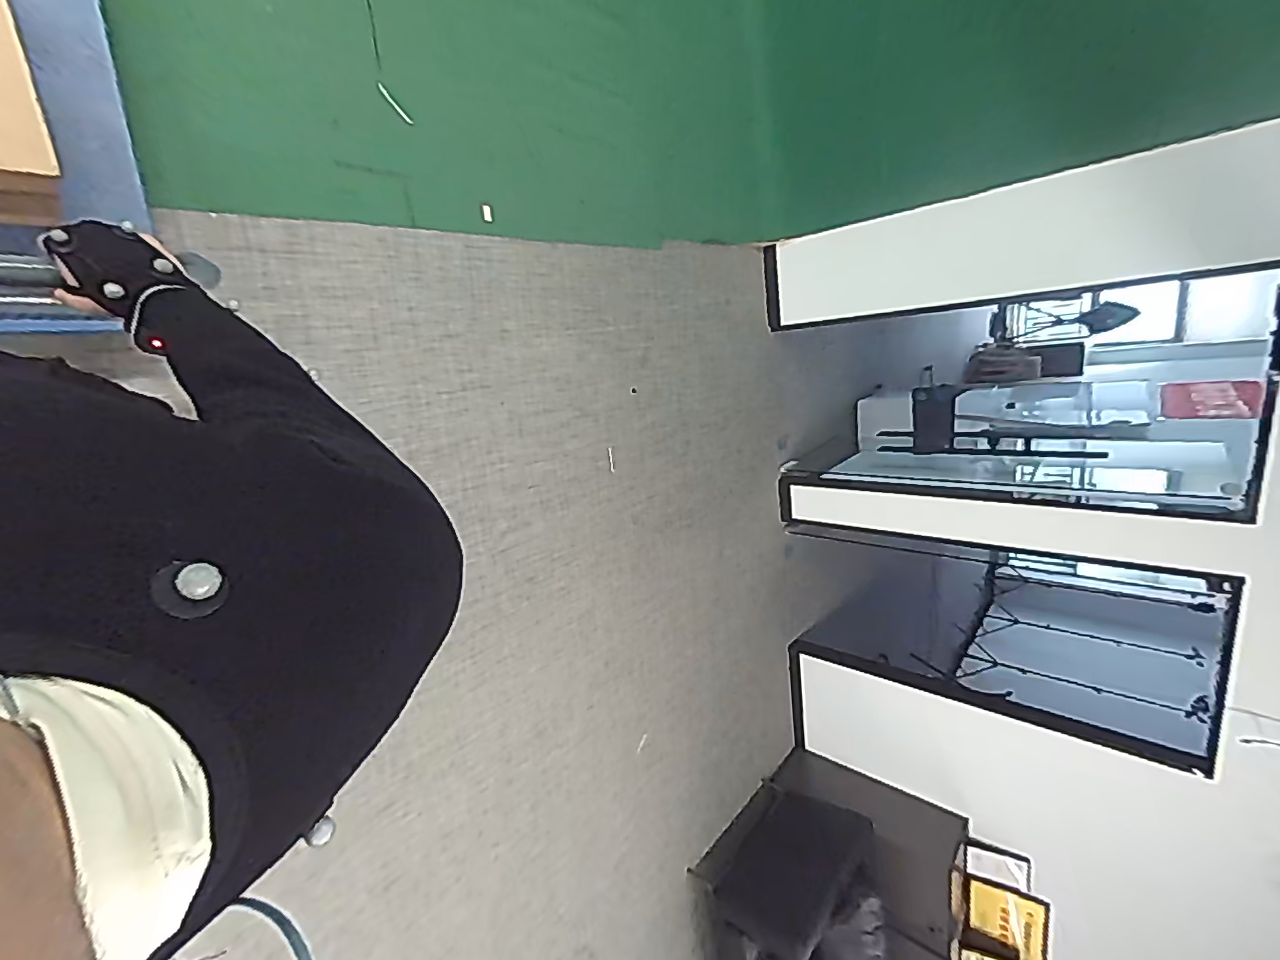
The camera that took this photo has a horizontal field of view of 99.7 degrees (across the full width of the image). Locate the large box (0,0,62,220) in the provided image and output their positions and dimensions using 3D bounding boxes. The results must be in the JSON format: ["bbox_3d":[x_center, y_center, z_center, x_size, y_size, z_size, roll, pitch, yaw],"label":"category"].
[{"bbox_3d":[-1.098,-0.621,0.756,0.320,0.320,0.408,-20,109,-44],"label":"large box"}]
